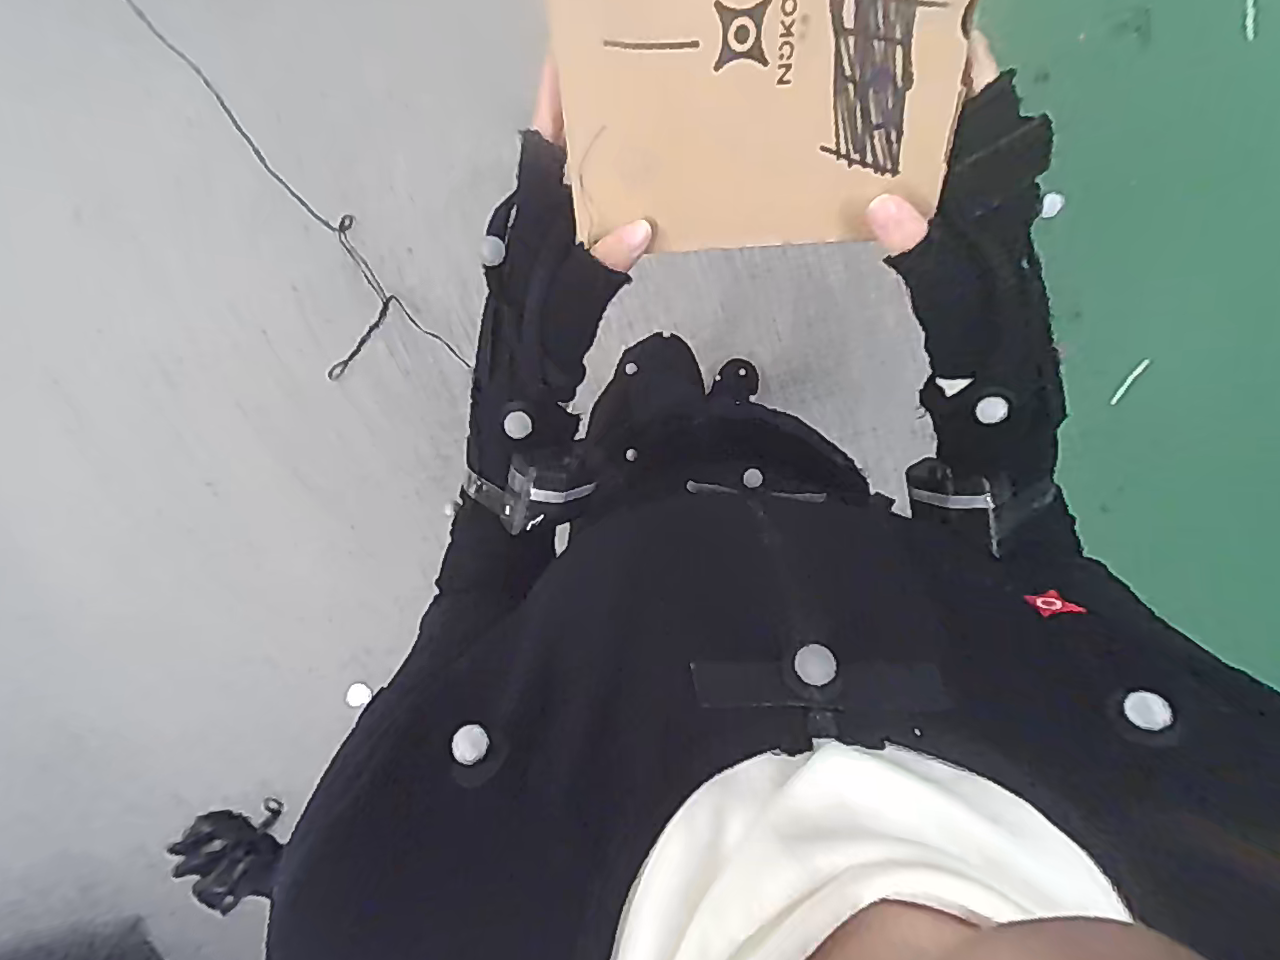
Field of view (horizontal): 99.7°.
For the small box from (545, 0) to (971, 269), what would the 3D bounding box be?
[{"bbox_3d":[0.050,-0.230,0.293,0.179,0.176,0.168,-5,126,5],"label":"small box"}]
